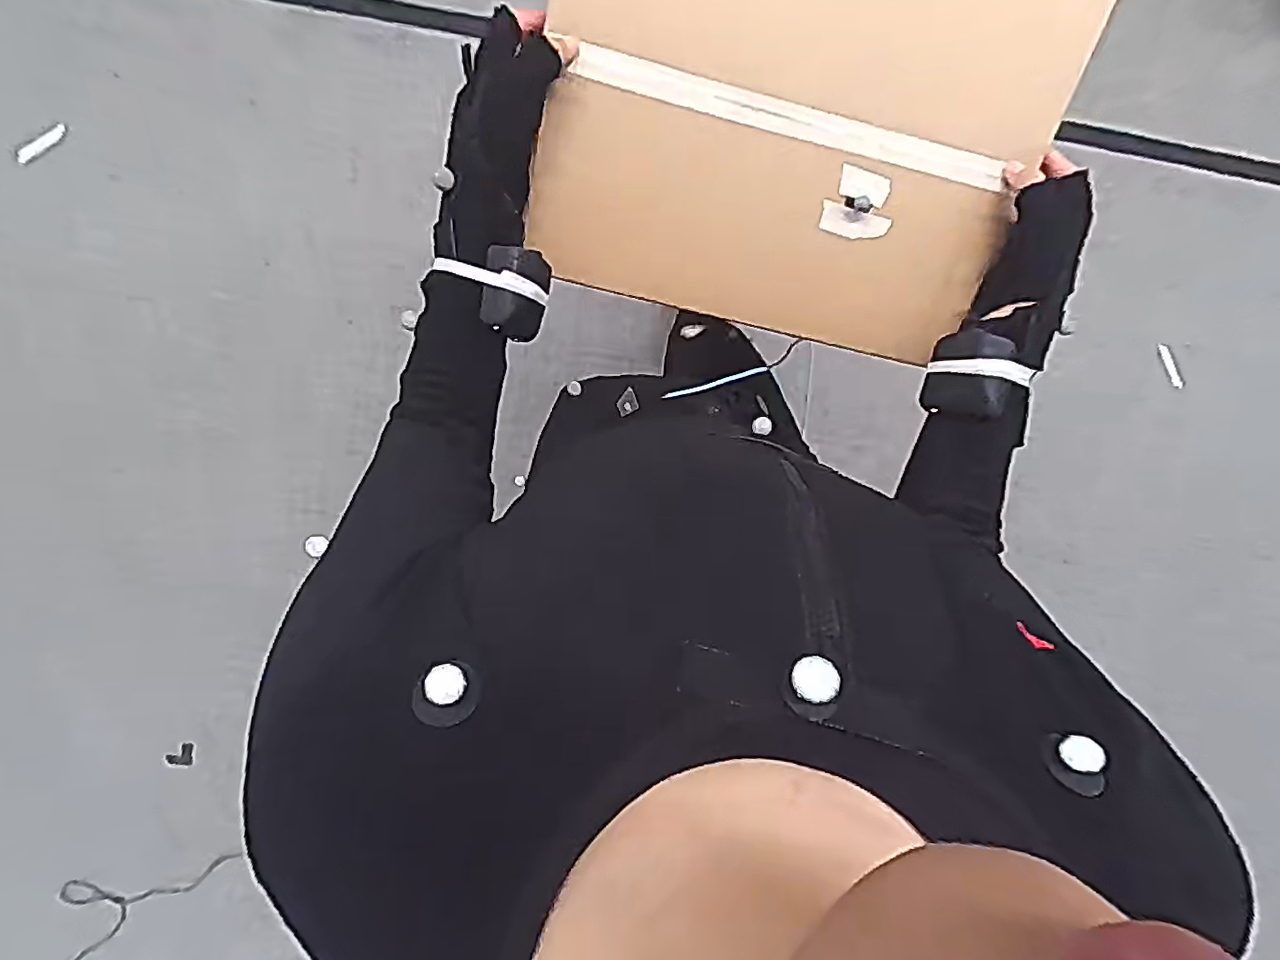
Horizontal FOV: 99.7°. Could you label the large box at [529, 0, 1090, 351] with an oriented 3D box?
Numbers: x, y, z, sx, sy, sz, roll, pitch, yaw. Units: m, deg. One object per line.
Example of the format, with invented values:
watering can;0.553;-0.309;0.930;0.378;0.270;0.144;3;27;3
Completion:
large box;0.118;-0.354;0.574;0.408;0.320;0.320;11;114;-7
